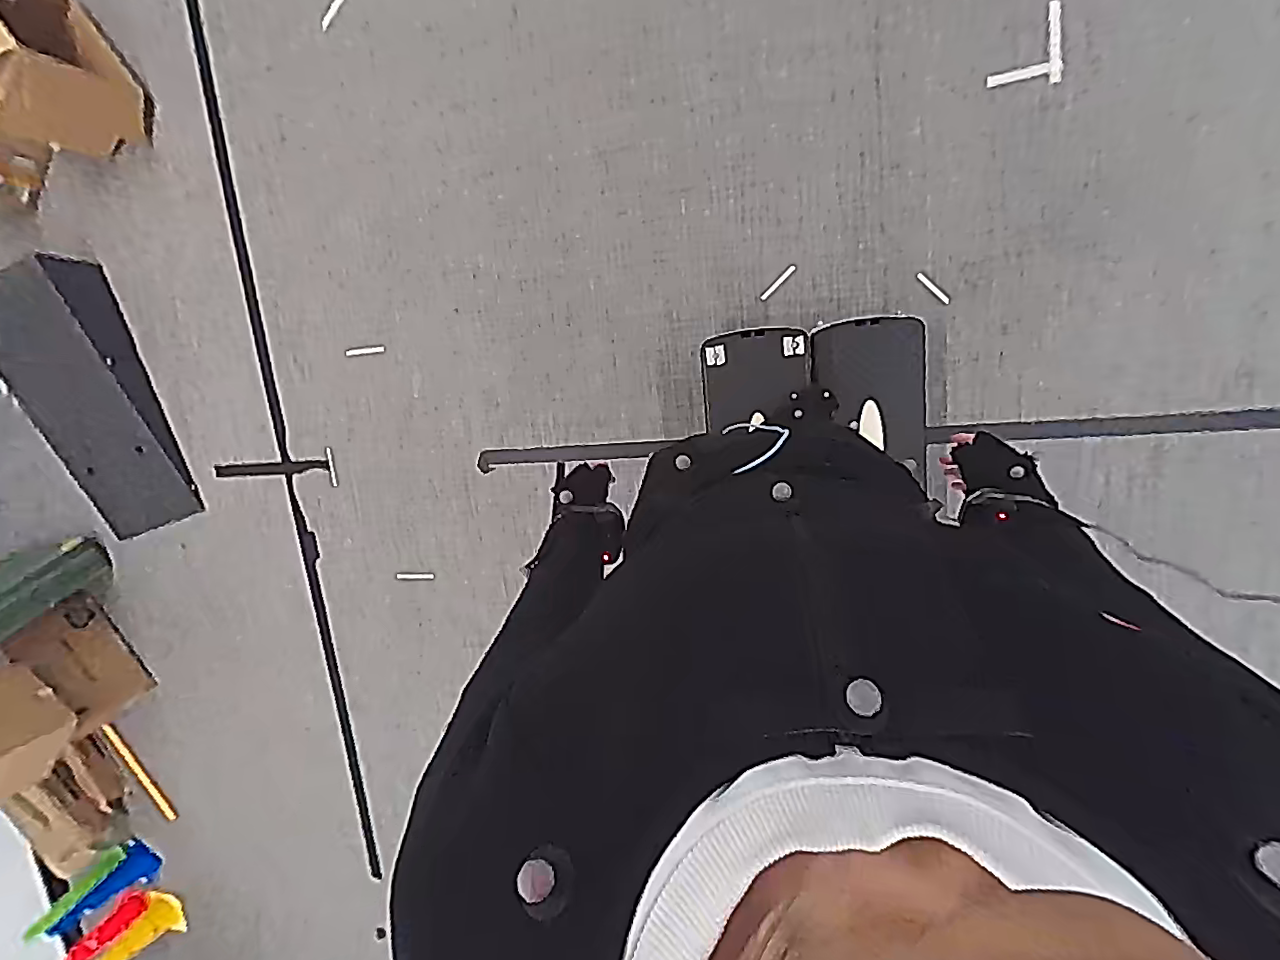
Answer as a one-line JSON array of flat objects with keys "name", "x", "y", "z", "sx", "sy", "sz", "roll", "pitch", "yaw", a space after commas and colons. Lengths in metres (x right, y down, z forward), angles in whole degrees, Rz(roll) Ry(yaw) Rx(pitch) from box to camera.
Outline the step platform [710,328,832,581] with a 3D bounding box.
[{"name": "step platform", "x": 0.364, "y": -0.066, "z": 1.499, "sx": 0.286, "sy": 0.204, "sz": 0.684, "roll": -4, "pitch": 99, "yaw": 13}]
